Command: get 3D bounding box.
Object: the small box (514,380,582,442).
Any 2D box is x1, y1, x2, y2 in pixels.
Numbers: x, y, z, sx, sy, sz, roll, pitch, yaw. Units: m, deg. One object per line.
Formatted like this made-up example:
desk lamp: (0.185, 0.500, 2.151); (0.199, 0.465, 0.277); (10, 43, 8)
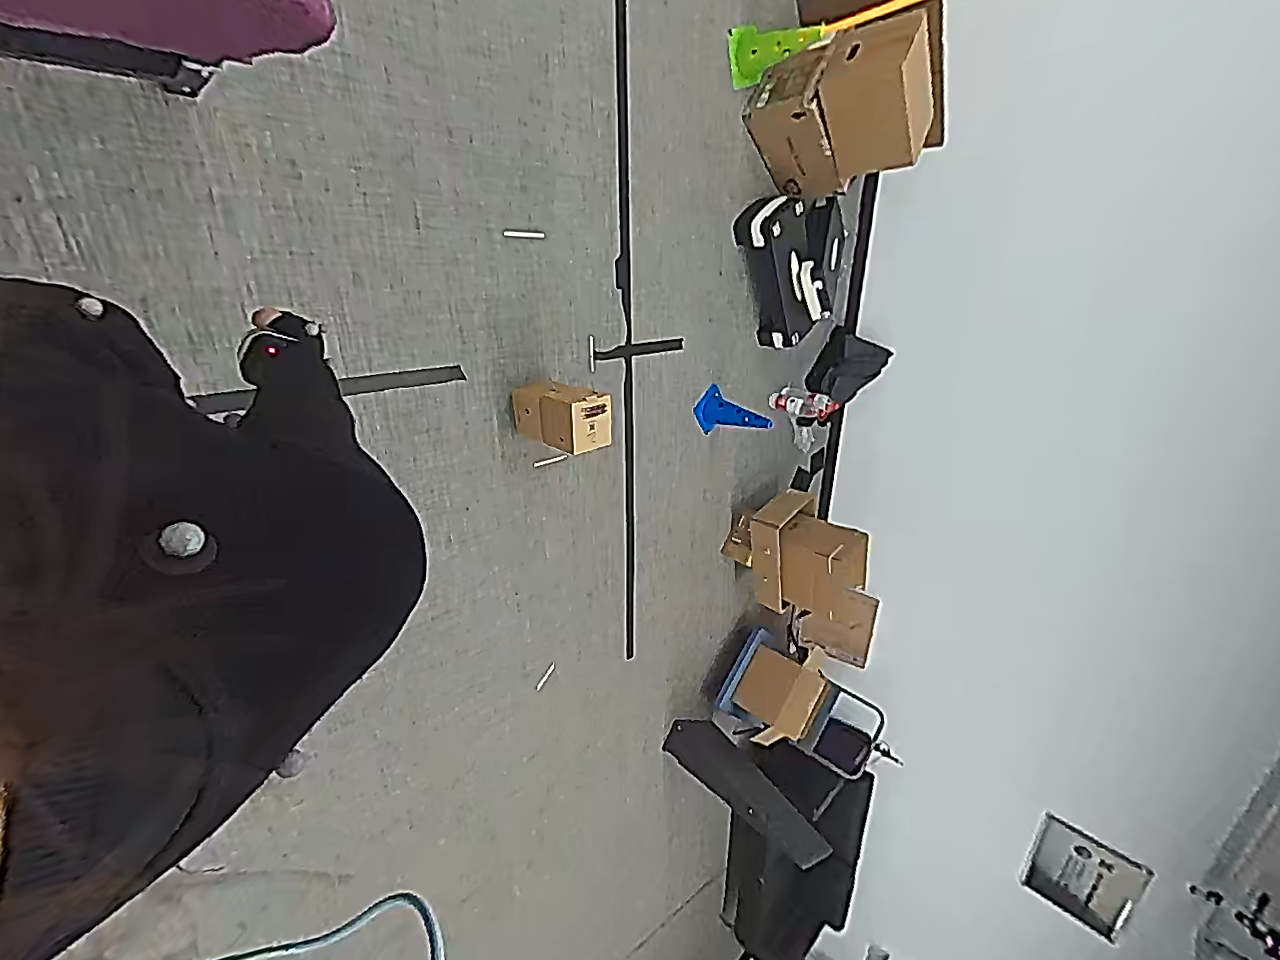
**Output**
small box: (-0.331, -0.247, 1.910); (0.179, 0.176, 0.168); (-25, 123, -39)
